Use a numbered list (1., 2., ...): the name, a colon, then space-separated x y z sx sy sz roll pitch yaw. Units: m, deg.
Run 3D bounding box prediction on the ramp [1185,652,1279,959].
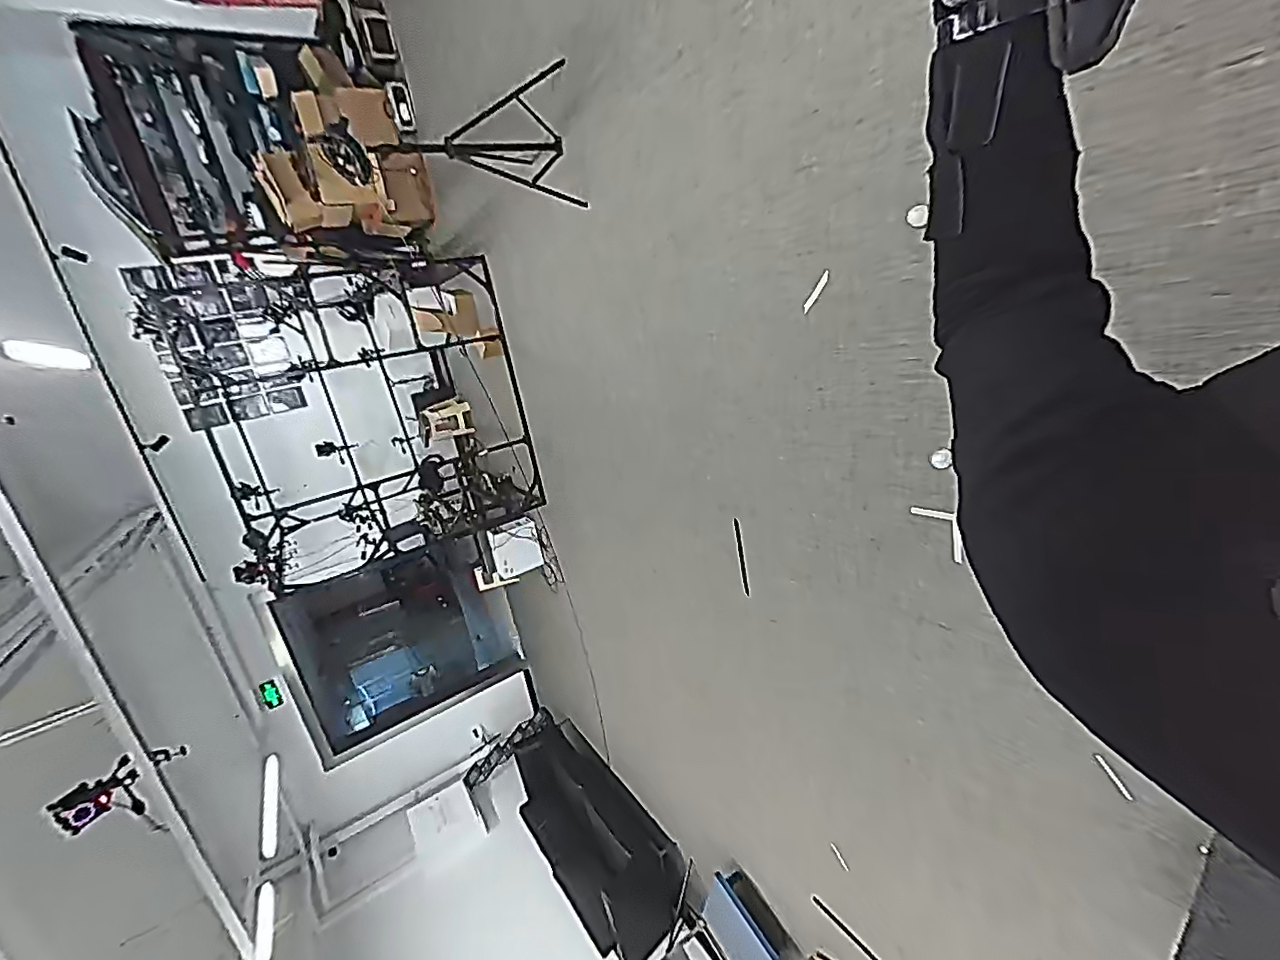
1. ramp: 1.412 0.767 0.974 0.509 0.206 0.991 19 123 57
